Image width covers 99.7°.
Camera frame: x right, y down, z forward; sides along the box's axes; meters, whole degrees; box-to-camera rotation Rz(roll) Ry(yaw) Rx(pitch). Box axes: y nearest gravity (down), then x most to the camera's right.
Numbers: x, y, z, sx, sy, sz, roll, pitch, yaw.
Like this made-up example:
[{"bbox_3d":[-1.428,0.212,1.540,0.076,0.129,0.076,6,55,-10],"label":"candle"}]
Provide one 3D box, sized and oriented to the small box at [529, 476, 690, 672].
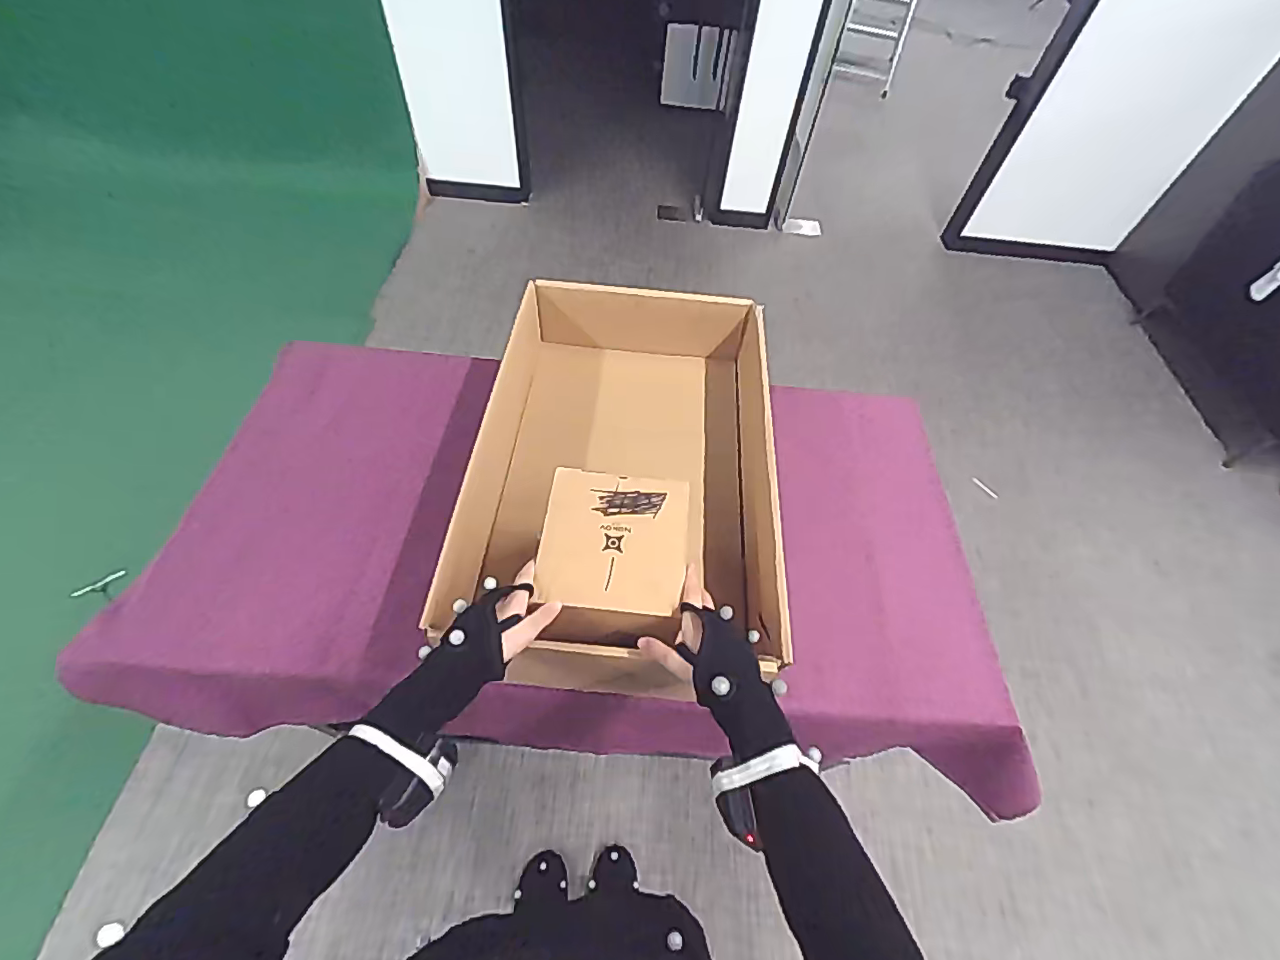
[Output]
[{"bbox_3d":[-0.033,0.120,0.673,0.168,0.176,0.179,6,55,0],"label":"small box"}]
